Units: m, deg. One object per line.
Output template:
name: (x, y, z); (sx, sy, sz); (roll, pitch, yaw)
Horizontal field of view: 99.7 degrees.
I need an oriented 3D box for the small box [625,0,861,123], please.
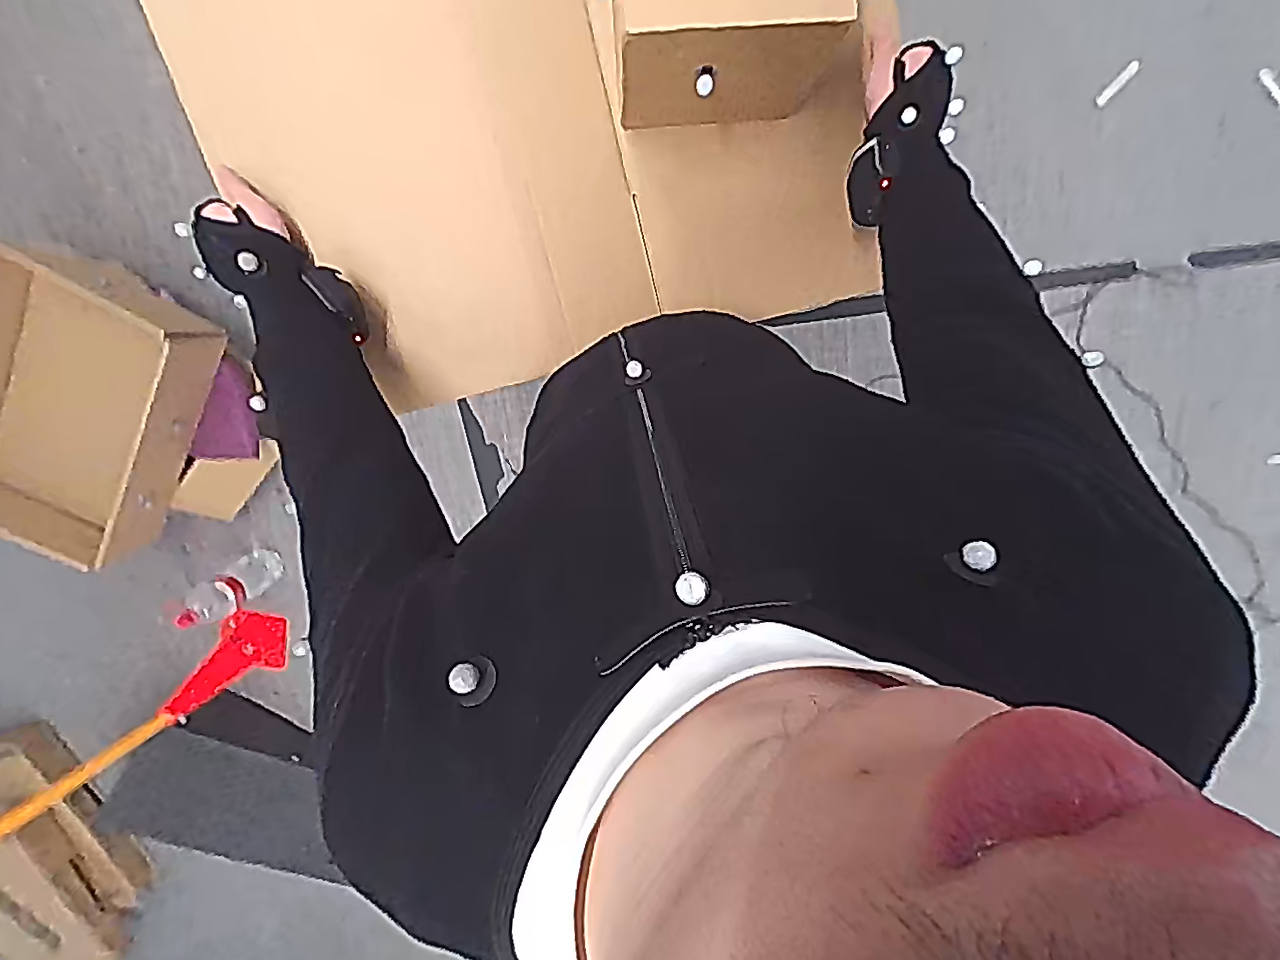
small box: (0.073, -0.432, 0.465); (0.179, 0.176, 0.168); (-4, 104, 0)
